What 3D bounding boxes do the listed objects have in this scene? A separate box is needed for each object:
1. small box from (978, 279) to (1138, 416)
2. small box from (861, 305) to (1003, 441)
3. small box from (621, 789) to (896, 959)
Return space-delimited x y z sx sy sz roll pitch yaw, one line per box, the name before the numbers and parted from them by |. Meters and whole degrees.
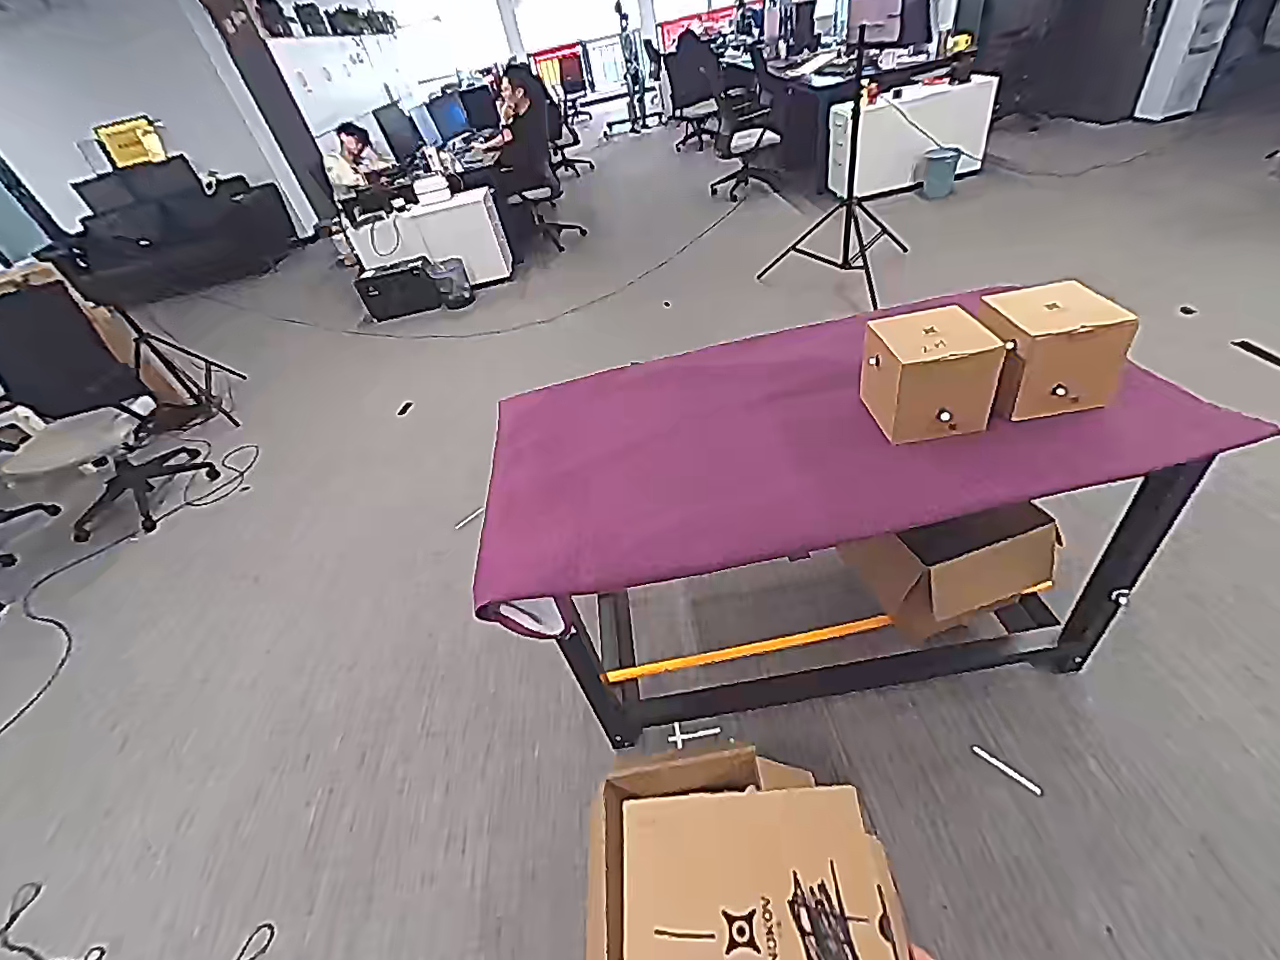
small box | 0.723 -0.238 0.977 0.168 0.176 0.179 -10 39 6
small box | 0.517 -0.195 0.989 0.168 0.176 0.179 -10 40 6
small box | 0.086 0.348 0.410 0.179 0.176 0.168 -7 46 7
